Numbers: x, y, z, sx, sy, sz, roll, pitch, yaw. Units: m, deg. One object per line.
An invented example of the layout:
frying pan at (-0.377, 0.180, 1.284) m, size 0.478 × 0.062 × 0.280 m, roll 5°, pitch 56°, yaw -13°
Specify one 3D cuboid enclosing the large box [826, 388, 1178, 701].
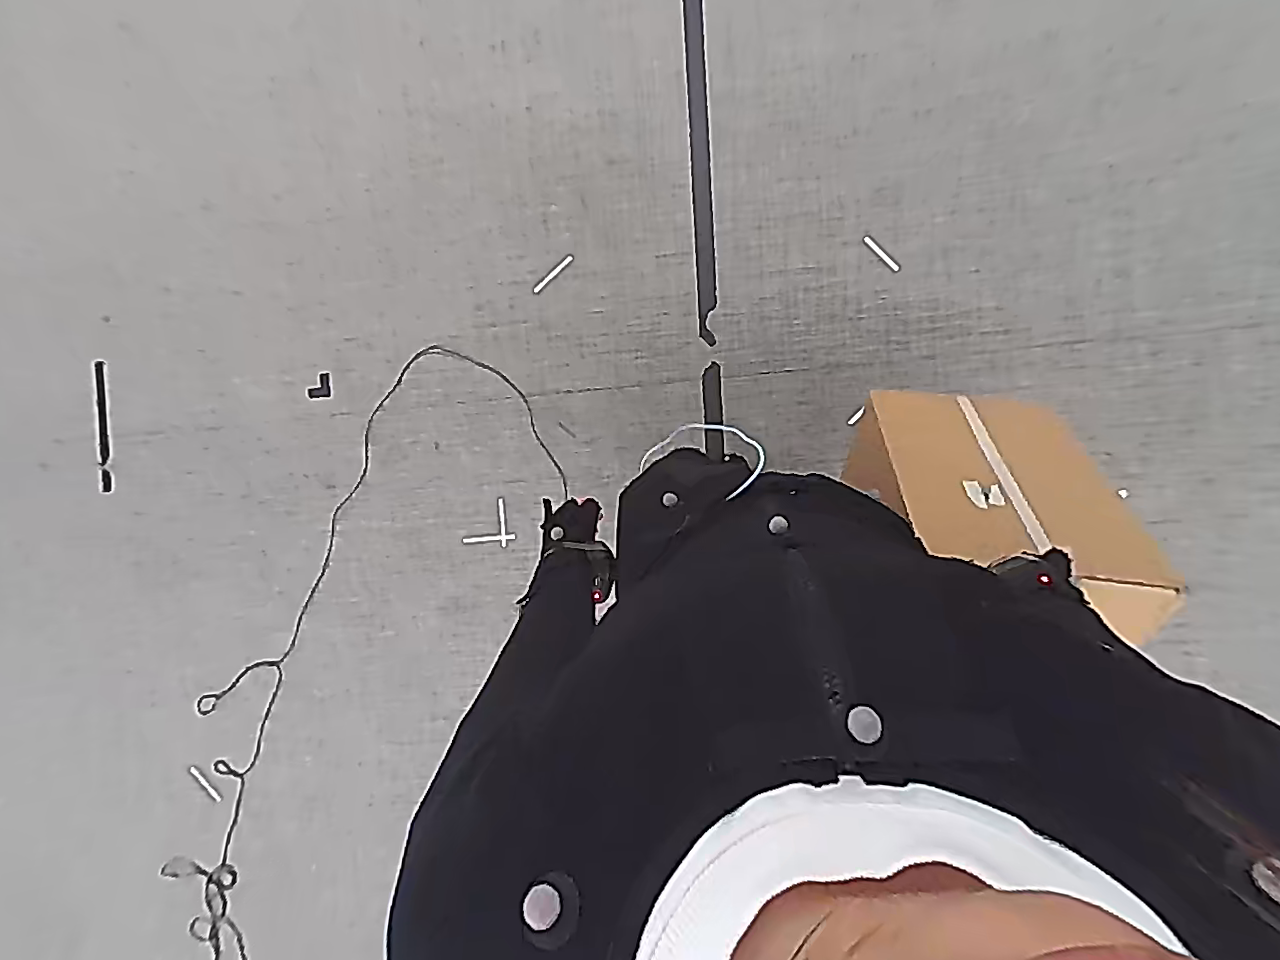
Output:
large box at (0.522, 0.094, 0.906) m, size 0.320 × 0.408 × 0.320 m, roll 5°, pitch 134°, yaw 7°
